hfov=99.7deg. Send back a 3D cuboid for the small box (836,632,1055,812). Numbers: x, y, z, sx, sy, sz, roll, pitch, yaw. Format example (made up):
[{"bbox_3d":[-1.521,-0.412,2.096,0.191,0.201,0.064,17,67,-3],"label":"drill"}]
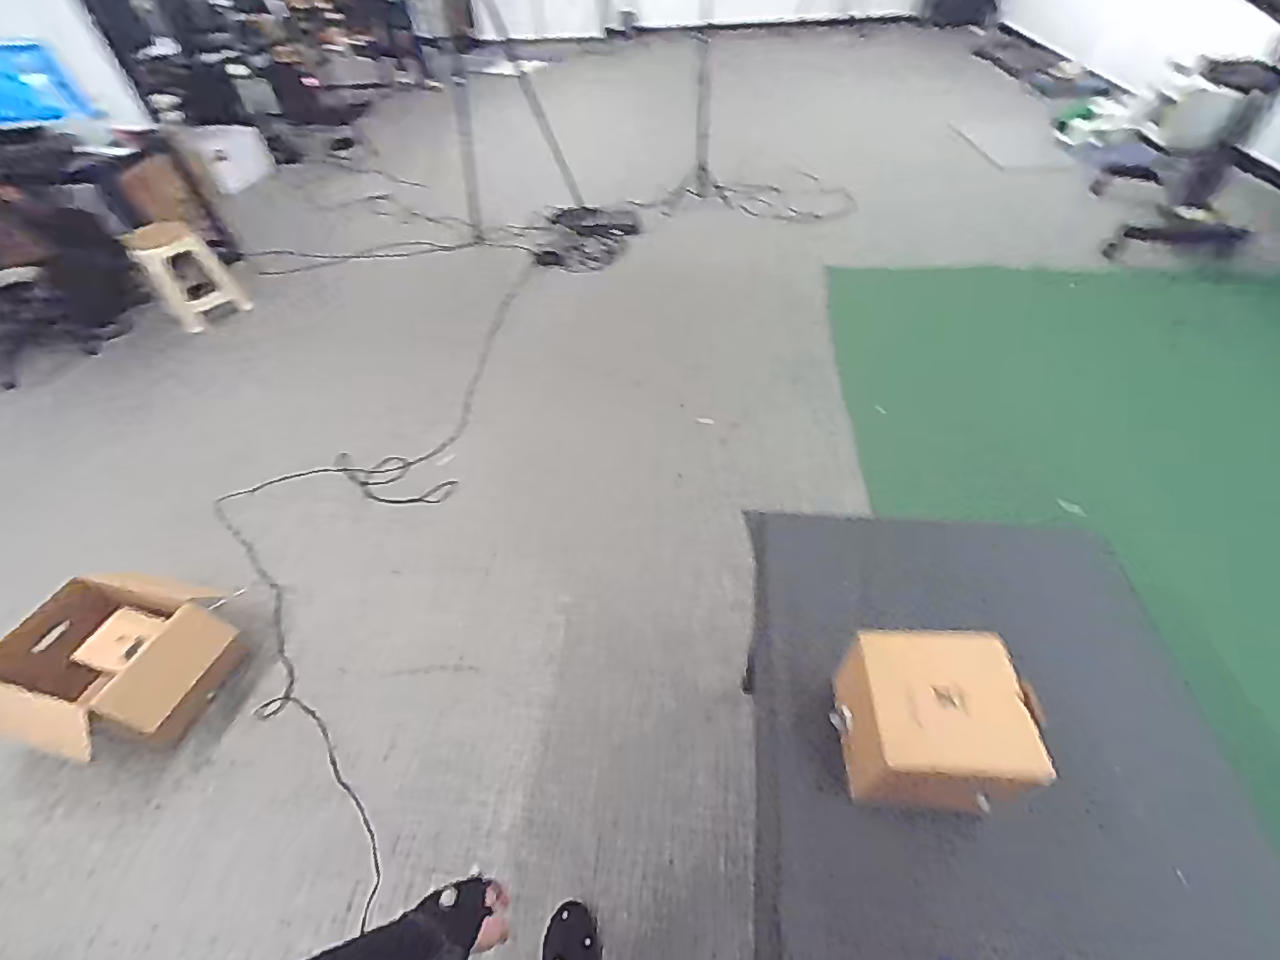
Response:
[{"bbox_3d":[0.370,0.313,0.695,0.179,0.176,0.168,1,47,6],"label":"small box"}]
